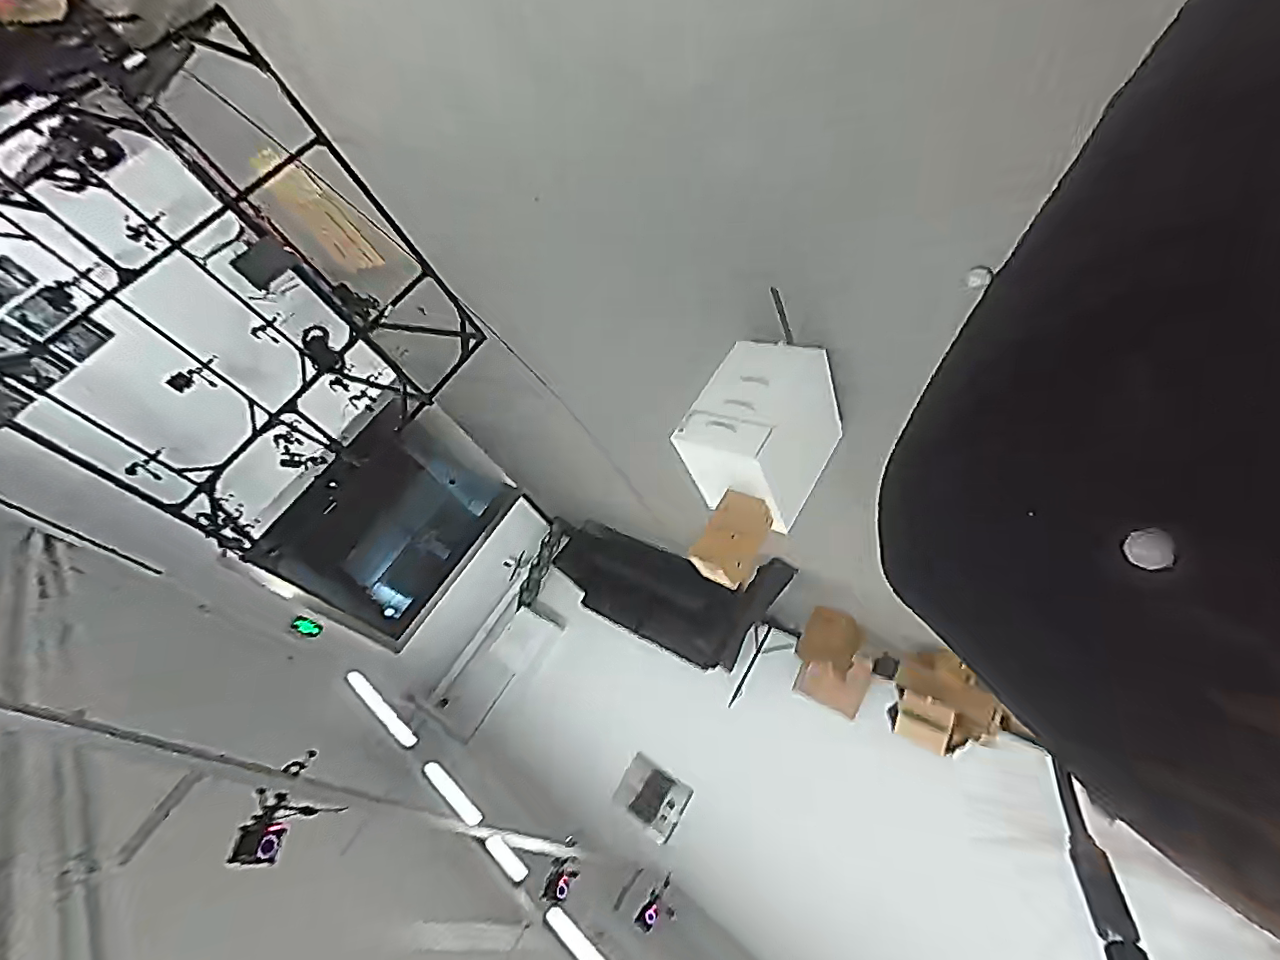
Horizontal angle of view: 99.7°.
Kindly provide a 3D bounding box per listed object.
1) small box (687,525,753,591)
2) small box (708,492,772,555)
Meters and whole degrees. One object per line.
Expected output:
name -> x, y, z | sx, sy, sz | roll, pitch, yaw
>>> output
small box -> 0.318, 0.302, 2.123 | 0.168, 0.176, 0.179 | 19, 157, 42
small box -> 0.405, 0.171, 2.172 | 0.179, 0.176, 0.168 | 20, 156, 38
